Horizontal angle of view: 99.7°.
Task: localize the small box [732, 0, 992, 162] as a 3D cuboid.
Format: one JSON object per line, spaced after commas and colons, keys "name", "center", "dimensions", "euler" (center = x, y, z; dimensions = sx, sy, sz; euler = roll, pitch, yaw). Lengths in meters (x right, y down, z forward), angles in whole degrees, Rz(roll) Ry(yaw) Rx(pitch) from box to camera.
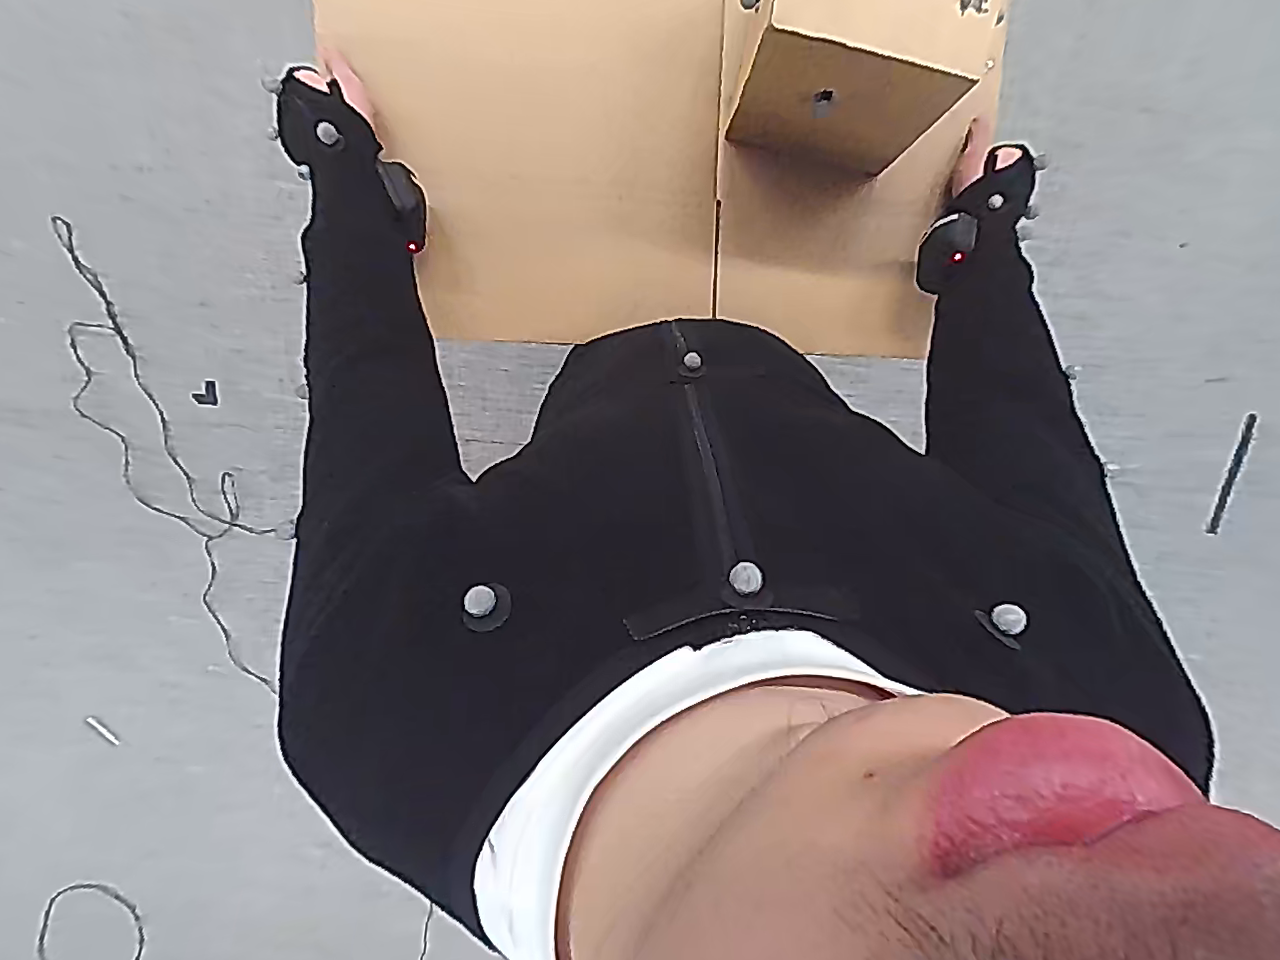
{"name": "small box", "center": [0.194, -0.423, 0.493], "dimensions": [0.179, 0.176, 0.168], "euler": [11, 97, -3]}
